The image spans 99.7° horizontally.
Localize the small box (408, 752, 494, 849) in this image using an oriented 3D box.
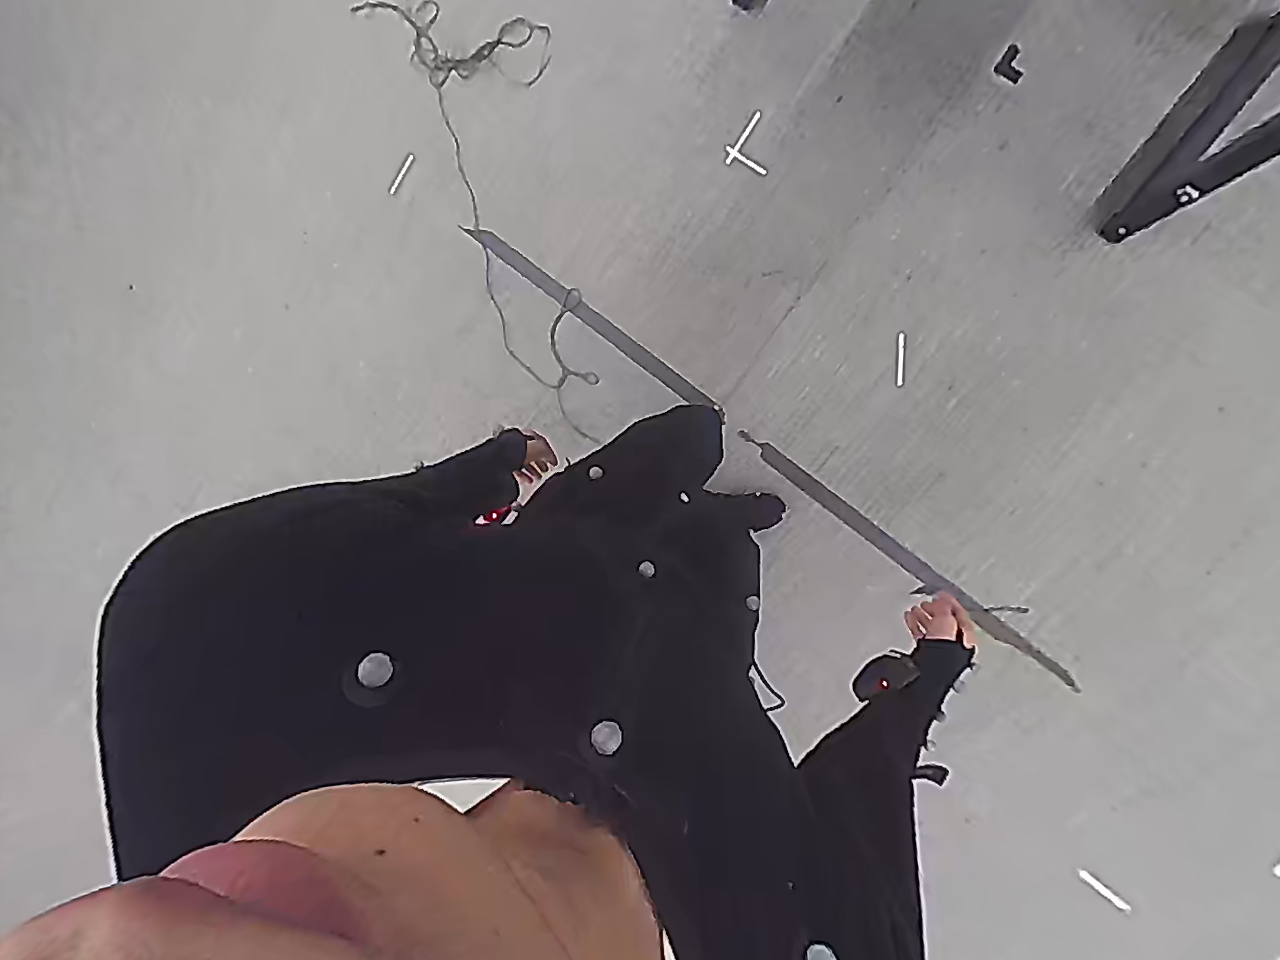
[{"bbox_3d":[-0.615,1.050,1.782,0.168,0.176,0.179,42,102,6],"label":"small box"}]
